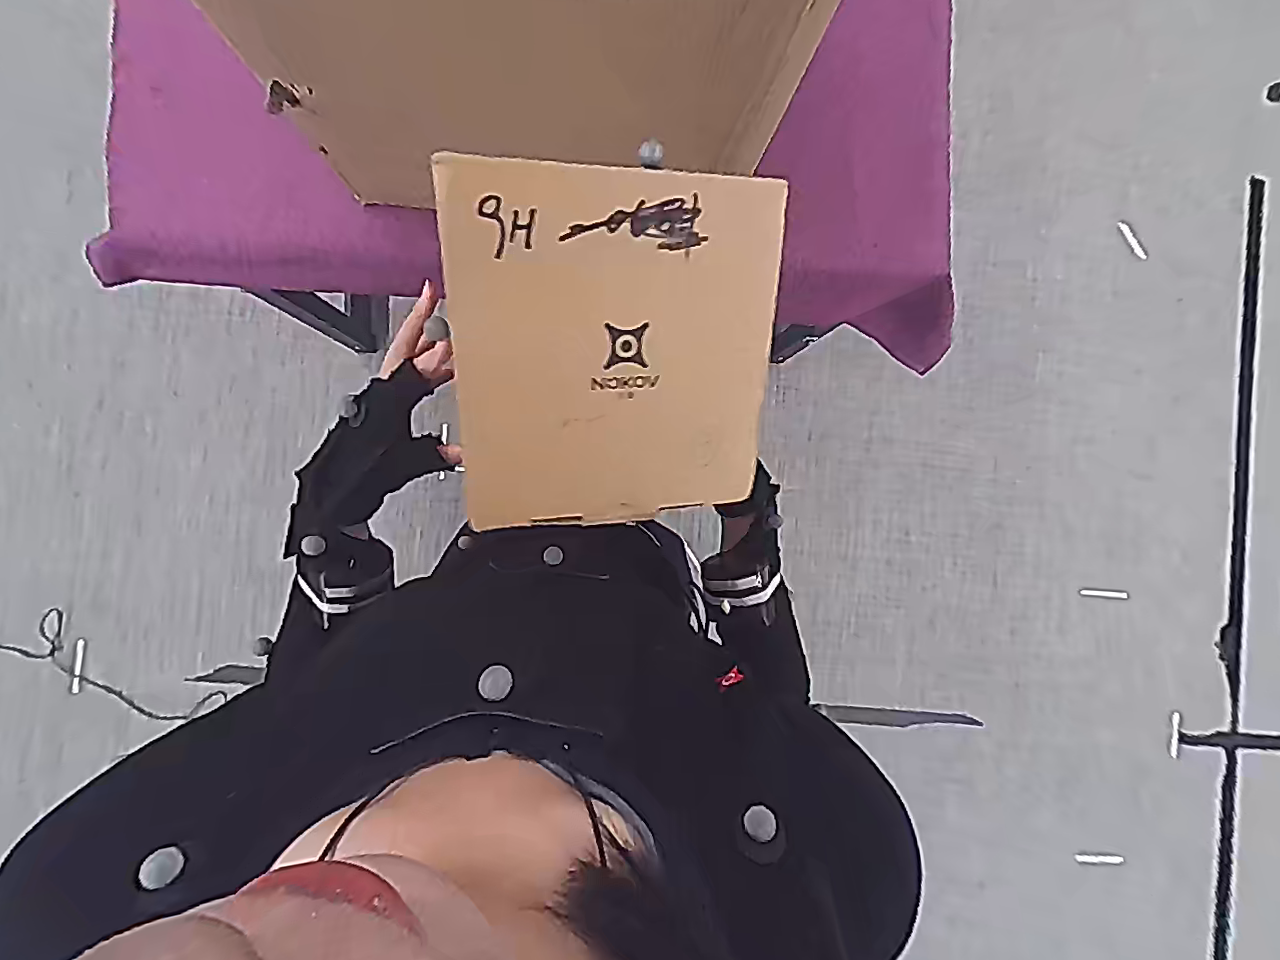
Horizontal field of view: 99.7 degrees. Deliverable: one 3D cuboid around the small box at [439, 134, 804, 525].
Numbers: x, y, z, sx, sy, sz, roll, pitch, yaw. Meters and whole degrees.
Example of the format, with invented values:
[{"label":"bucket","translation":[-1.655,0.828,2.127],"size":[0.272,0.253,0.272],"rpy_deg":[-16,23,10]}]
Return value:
[{"label":"small box","translation":[-0.028,-0.095,0.335],"size":[0.168,0.176,0.179],"rpy_deg":[-7,116,-18]}]
